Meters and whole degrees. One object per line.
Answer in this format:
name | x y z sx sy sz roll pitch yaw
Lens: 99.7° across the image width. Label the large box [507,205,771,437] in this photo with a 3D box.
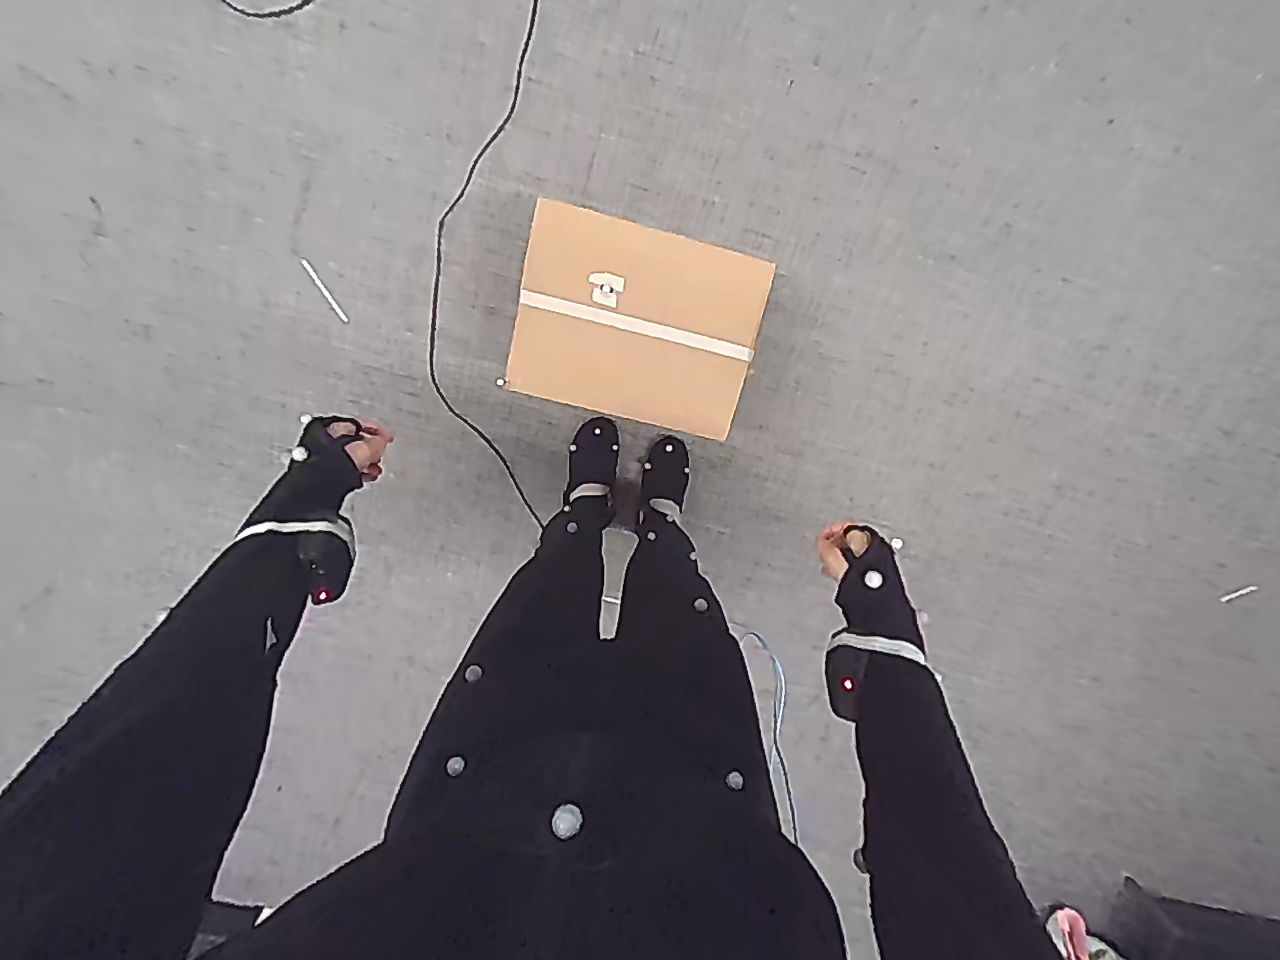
large box | -0.009 -0.299 1.064 0.408 0.320 0.320 13 104 -6
